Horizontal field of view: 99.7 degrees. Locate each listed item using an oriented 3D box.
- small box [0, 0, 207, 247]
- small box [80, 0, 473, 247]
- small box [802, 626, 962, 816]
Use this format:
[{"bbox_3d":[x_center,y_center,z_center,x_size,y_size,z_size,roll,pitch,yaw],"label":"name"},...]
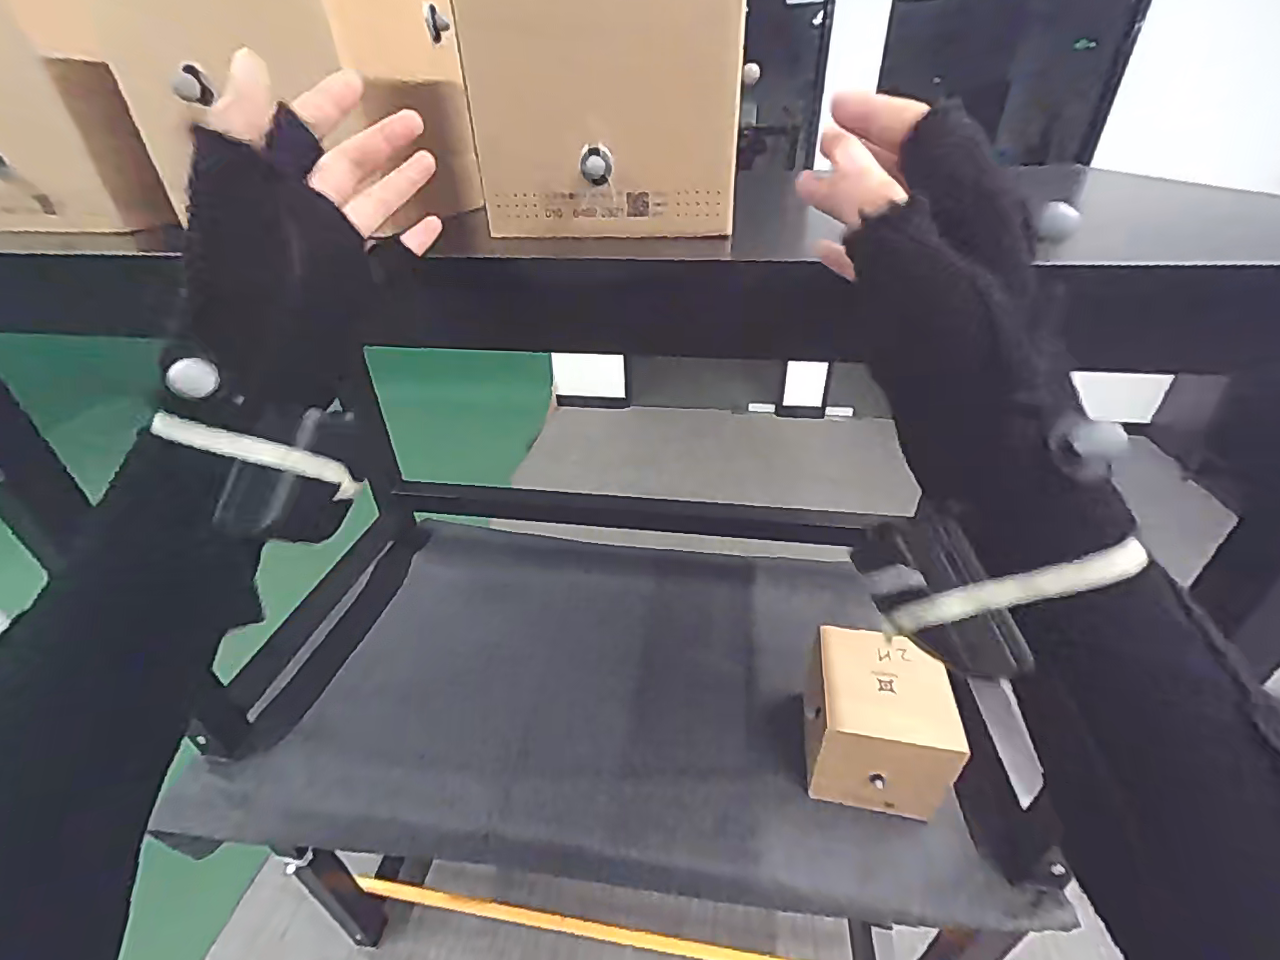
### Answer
[{"bbox_3d":[-0.471,-0.311,0.469,0.168,0.176,0.179,4,34,9],"label":"small box"},{"bbox_3d":[-0.251,-0.286,0.426,0.168,0.176,0.179,4,33,9],"label":"small box"},{"bbox_3d":[0.328,0.340,0.770,0.168,0.176,0.179,6,33,11],"label":"small box"}]
